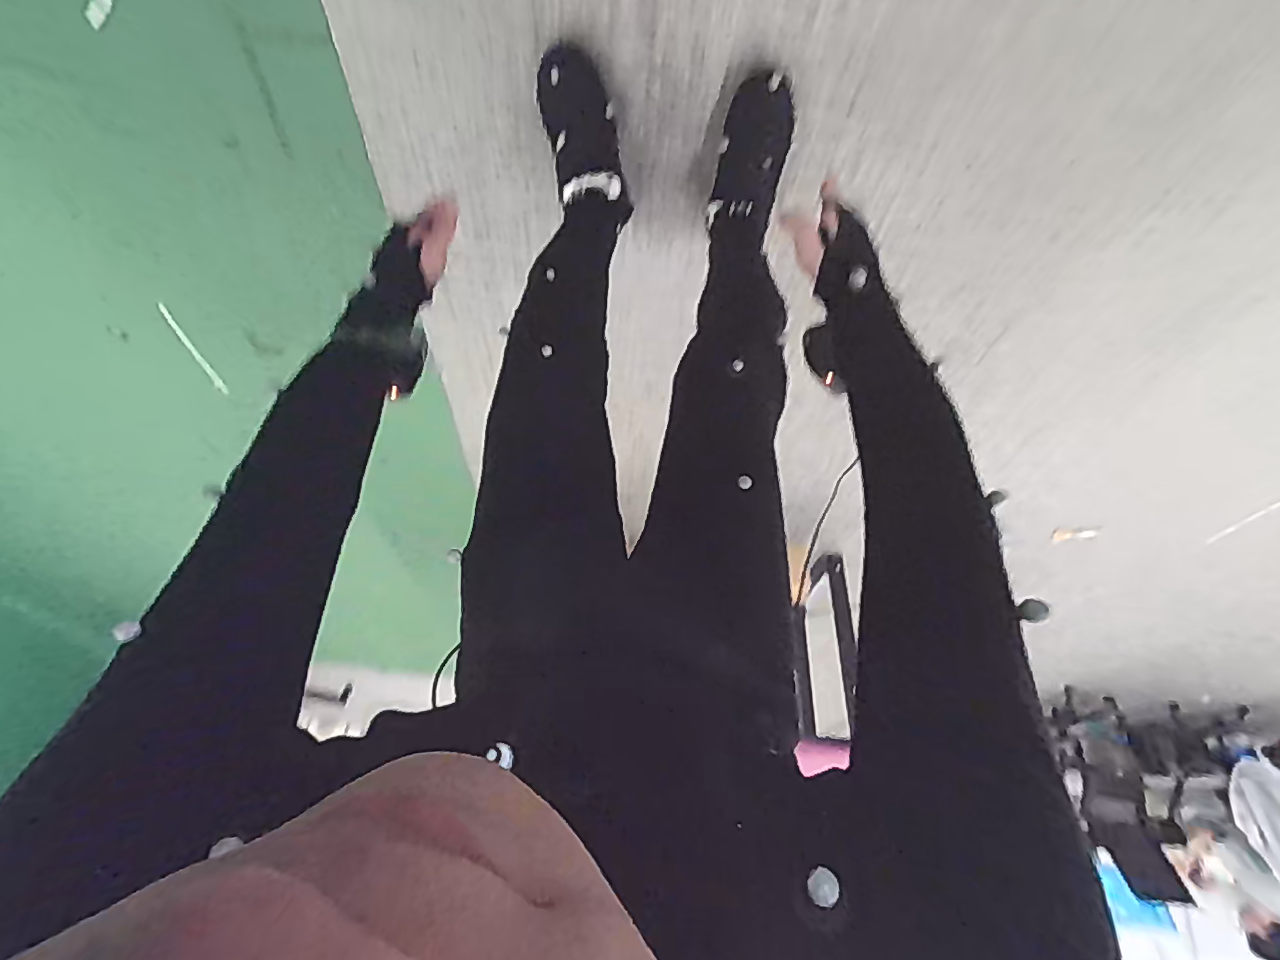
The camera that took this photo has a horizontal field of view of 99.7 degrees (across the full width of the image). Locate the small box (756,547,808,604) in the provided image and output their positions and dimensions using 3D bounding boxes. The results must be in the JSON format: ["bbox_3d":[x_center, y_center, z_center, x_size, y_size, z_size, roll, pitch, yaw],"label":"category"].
[{"bbox_3d":[0.547,0.371,2.110,0.168,0.176,0.179,0,145,6],"label":"small box"}]
